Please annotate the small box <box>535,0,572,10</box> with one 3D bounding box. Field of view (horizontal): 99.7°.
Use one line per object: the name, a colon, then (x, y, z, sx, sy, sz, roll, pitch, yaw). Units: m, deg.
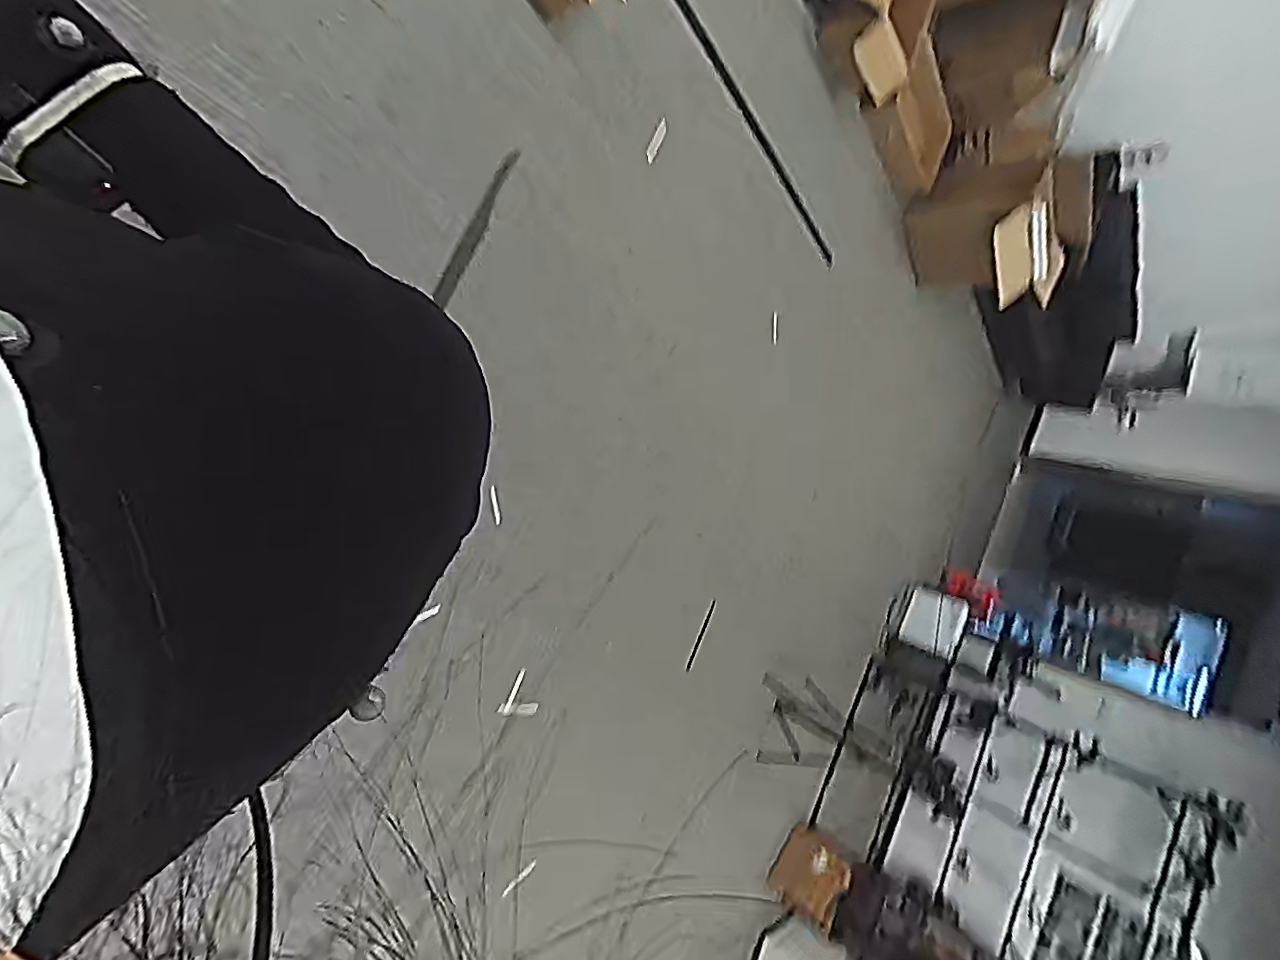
small box: (-0.223, -1.381, 1.409, 0.179, 0.176, 0.168, 31, 80, -44)
